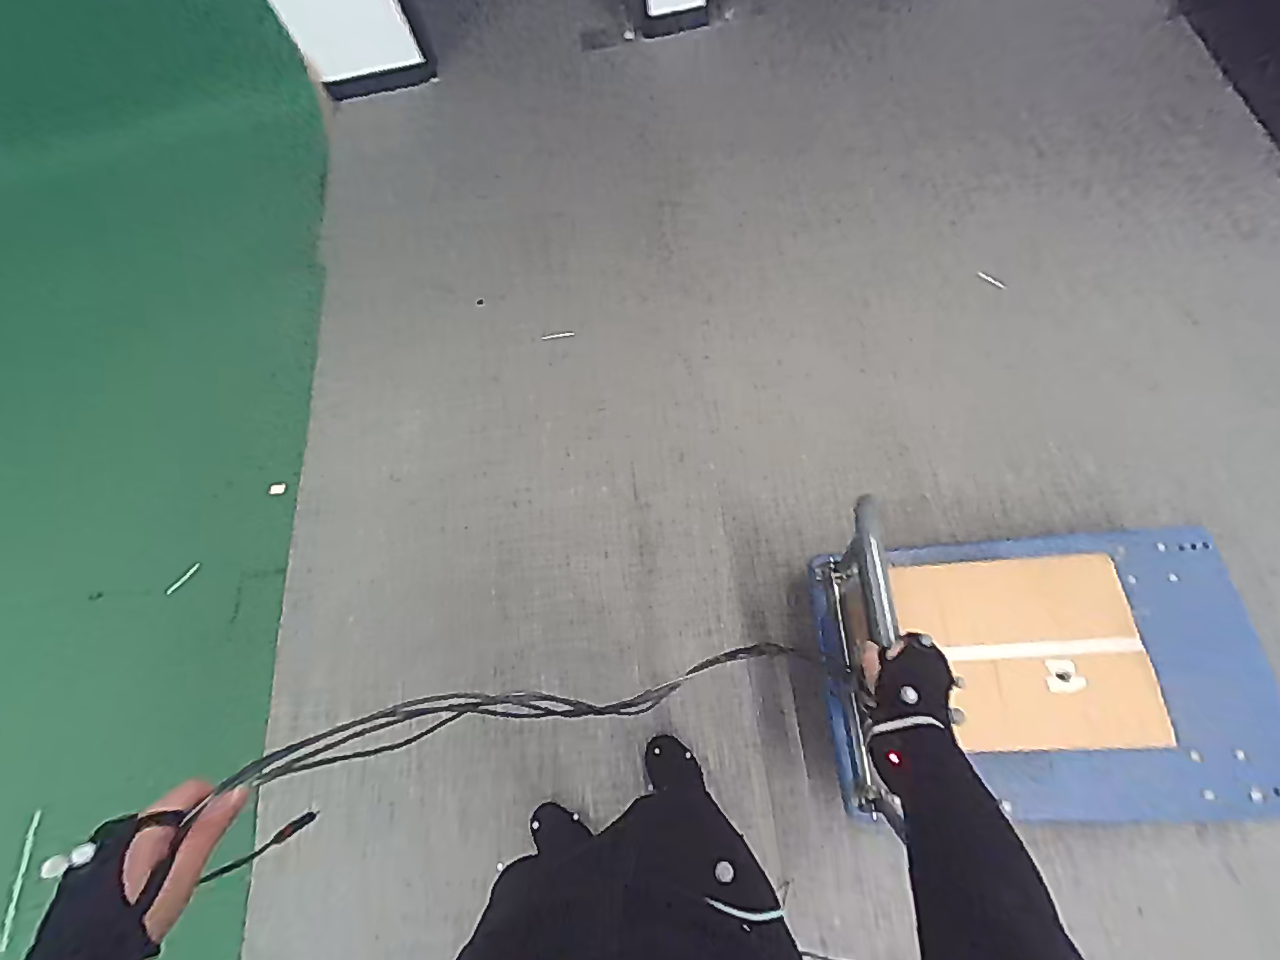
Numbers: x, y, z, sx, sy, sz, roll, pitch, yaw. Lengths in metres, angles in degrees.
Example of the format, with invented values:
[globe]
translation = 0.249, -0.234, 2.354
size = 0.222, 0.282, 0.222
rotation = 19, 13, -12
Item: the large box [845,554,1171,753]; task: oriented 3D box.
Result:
[large box]
translation = 0.665, 0.347, 1.073
size = 0.408, 0.320, 0.320
rotation = -5, 70, 8
